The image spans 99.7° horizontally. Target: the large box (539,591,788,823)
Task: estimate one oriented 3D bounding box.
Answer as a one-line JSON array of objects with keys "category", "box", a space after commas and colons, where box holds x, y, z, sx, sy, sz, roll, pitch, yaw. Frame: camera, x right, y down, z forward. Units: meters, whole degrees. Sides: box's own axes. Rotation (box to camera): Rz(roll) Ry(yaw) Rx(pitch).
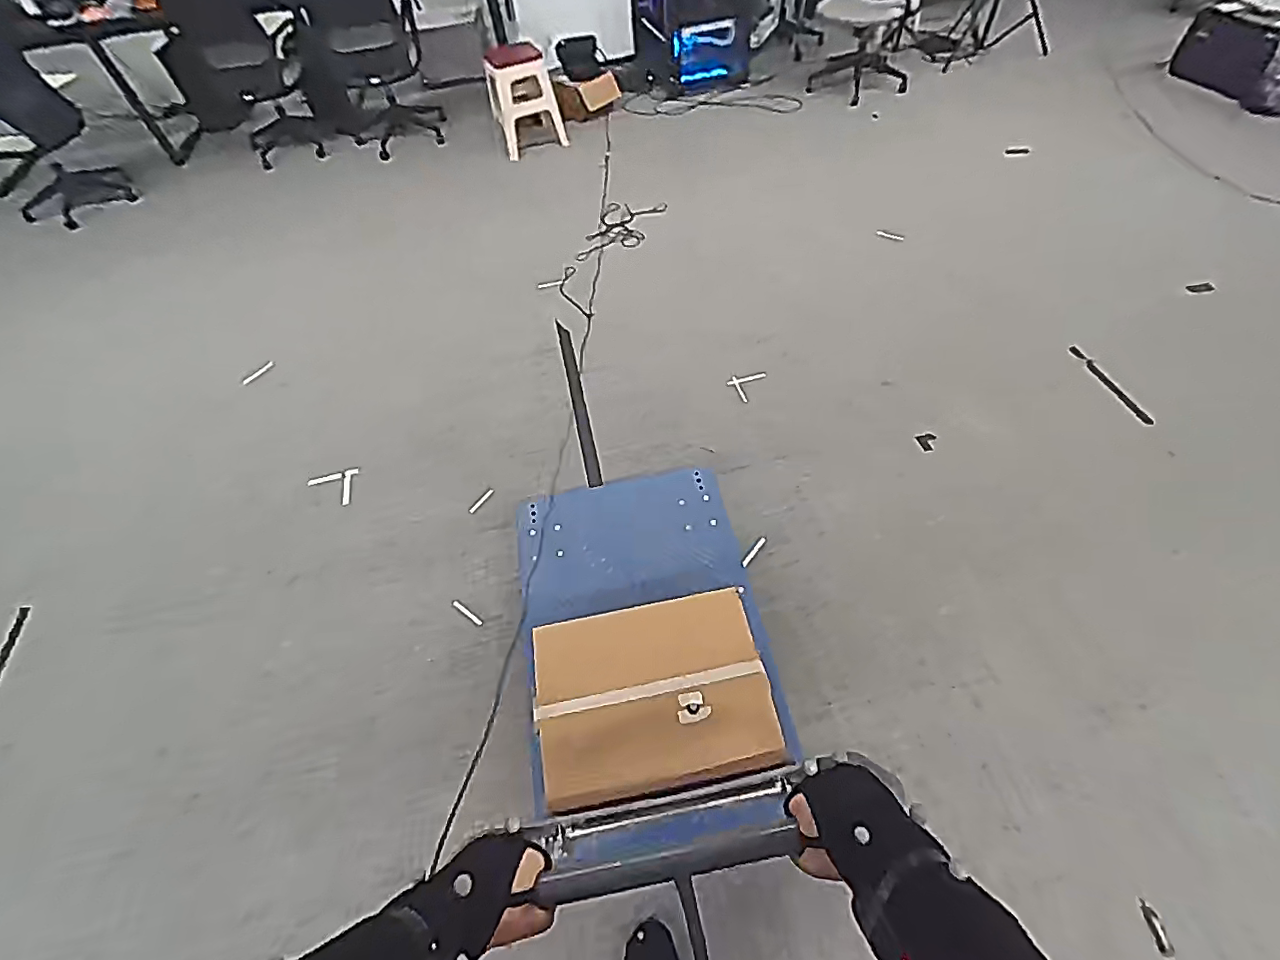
[{"category": "large box", "box": [0.035, 0.466, 1.095, 0.408, 0.320, 0.320, -11, 56, -3]}]
